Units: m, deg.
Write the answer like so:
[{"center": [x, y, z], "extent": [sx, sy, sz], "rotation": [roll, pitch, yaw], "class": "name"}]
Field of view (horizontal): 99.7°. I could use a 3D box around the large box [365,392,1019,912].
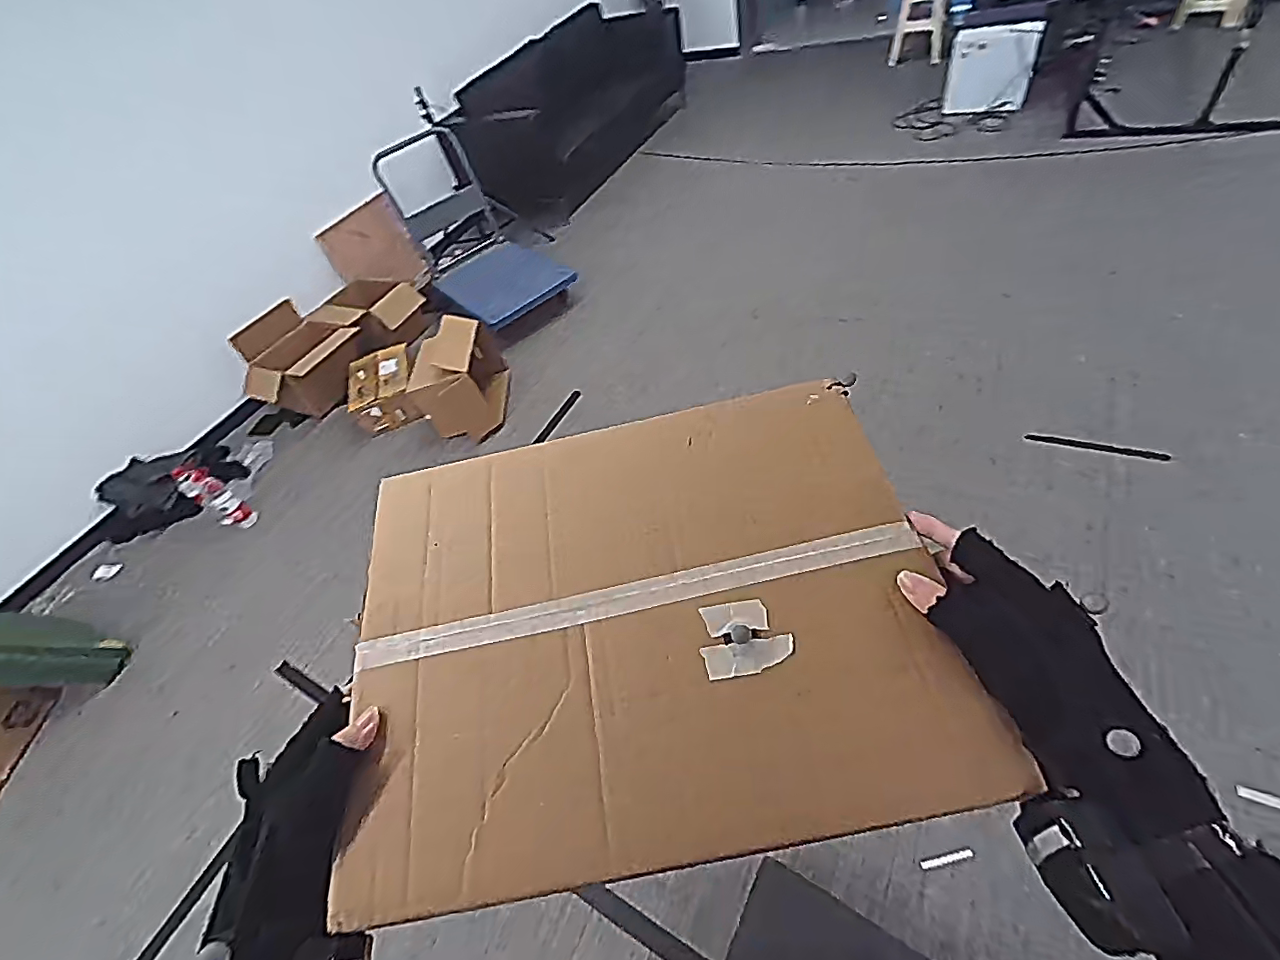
[{"center": [0.024, 0.169, 0.521], "extent": [0.408, 0.320, 0.320], "rotation": [-12, 57, 2], "class": "large box"}]
